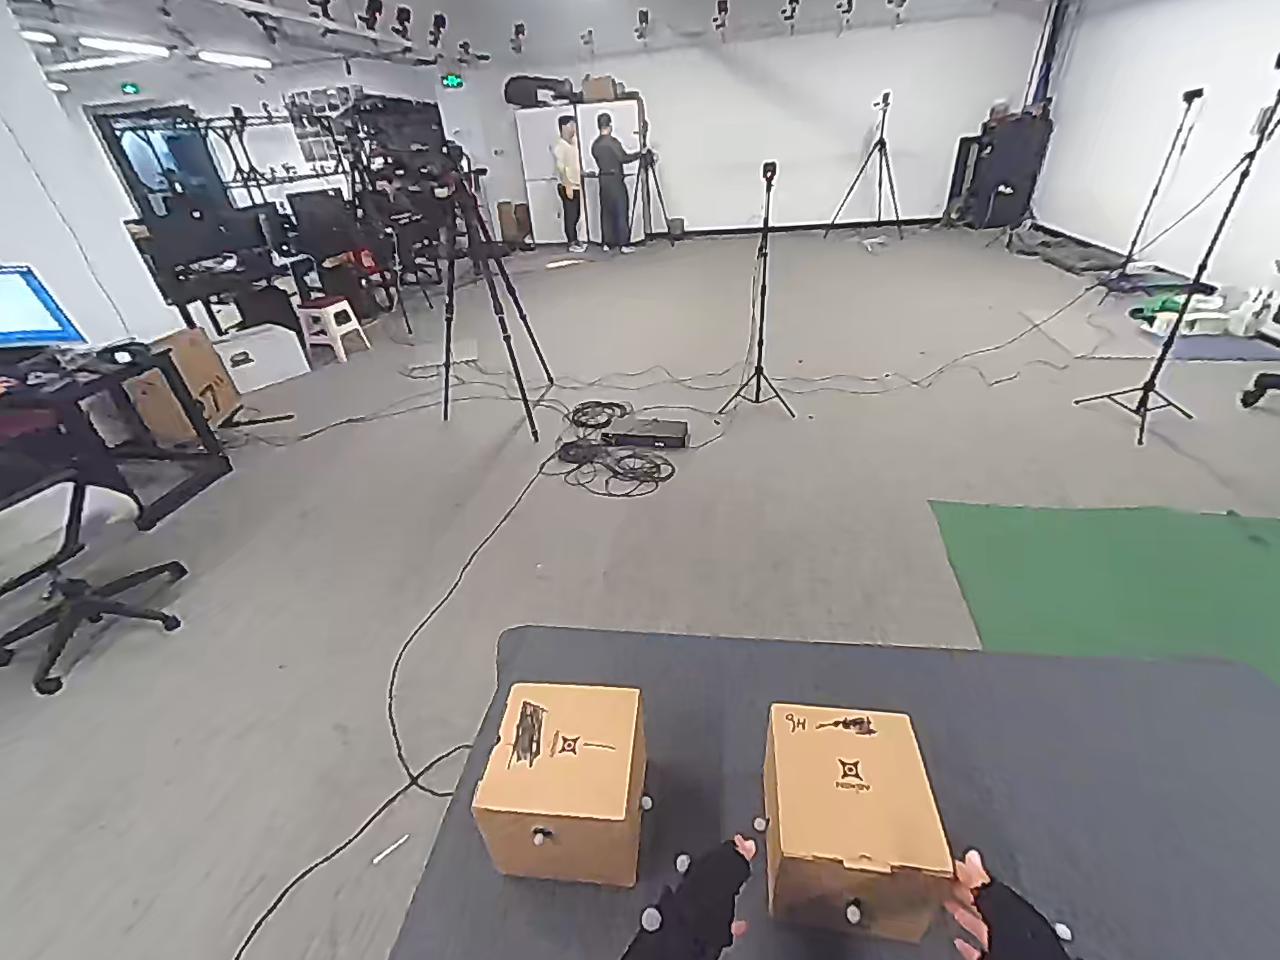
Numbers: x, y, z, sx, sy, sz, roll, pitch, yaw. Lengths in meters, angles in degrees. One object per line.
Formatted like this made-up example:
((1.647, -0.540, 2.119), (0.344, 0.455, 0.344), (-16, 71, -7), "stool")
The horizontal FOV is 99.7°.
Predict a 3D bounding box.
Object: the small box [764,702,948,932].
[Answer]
((0.238, 0.399, 0.646), (0.168, 0.176, 0.179), (2, 34, 9), "small box")

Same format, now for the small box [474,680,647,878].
((-0.088, 0.385, 0.702), (0.179, 0.176, 0.168), (1, 34, 6), "small box")
